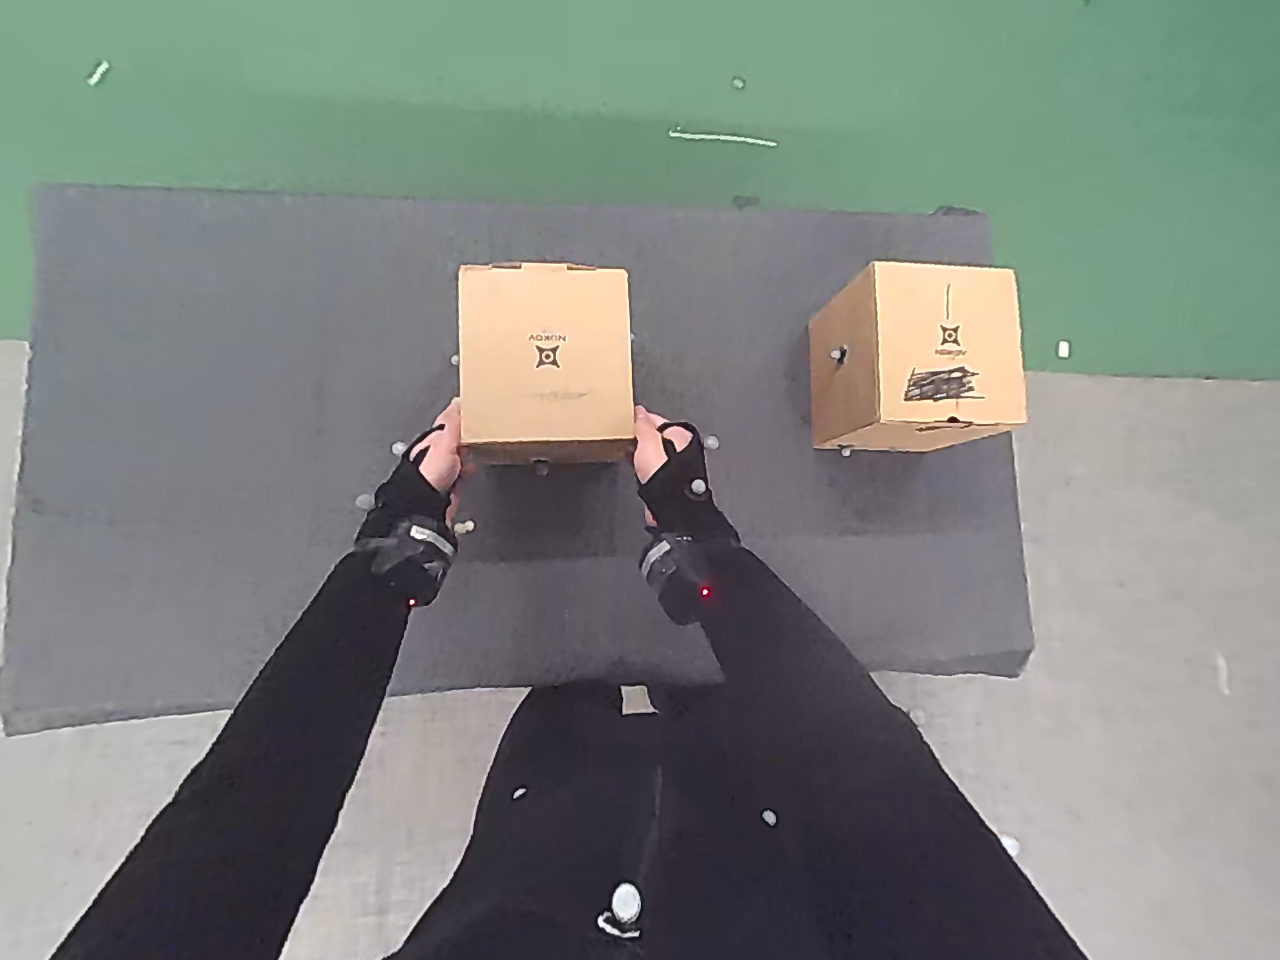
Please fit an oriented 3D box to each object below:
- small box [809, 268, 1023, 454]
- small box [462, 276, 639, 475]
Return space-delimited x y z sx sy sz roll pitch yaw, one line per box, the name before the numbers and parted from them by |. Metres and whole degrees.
small box | 0.315 -0.128 0.649 0.168 0.176 0.179 1 83 -7
small box | -0.098 -0.104 0.598 0.168 0.176 0.179 -3 85 -9
